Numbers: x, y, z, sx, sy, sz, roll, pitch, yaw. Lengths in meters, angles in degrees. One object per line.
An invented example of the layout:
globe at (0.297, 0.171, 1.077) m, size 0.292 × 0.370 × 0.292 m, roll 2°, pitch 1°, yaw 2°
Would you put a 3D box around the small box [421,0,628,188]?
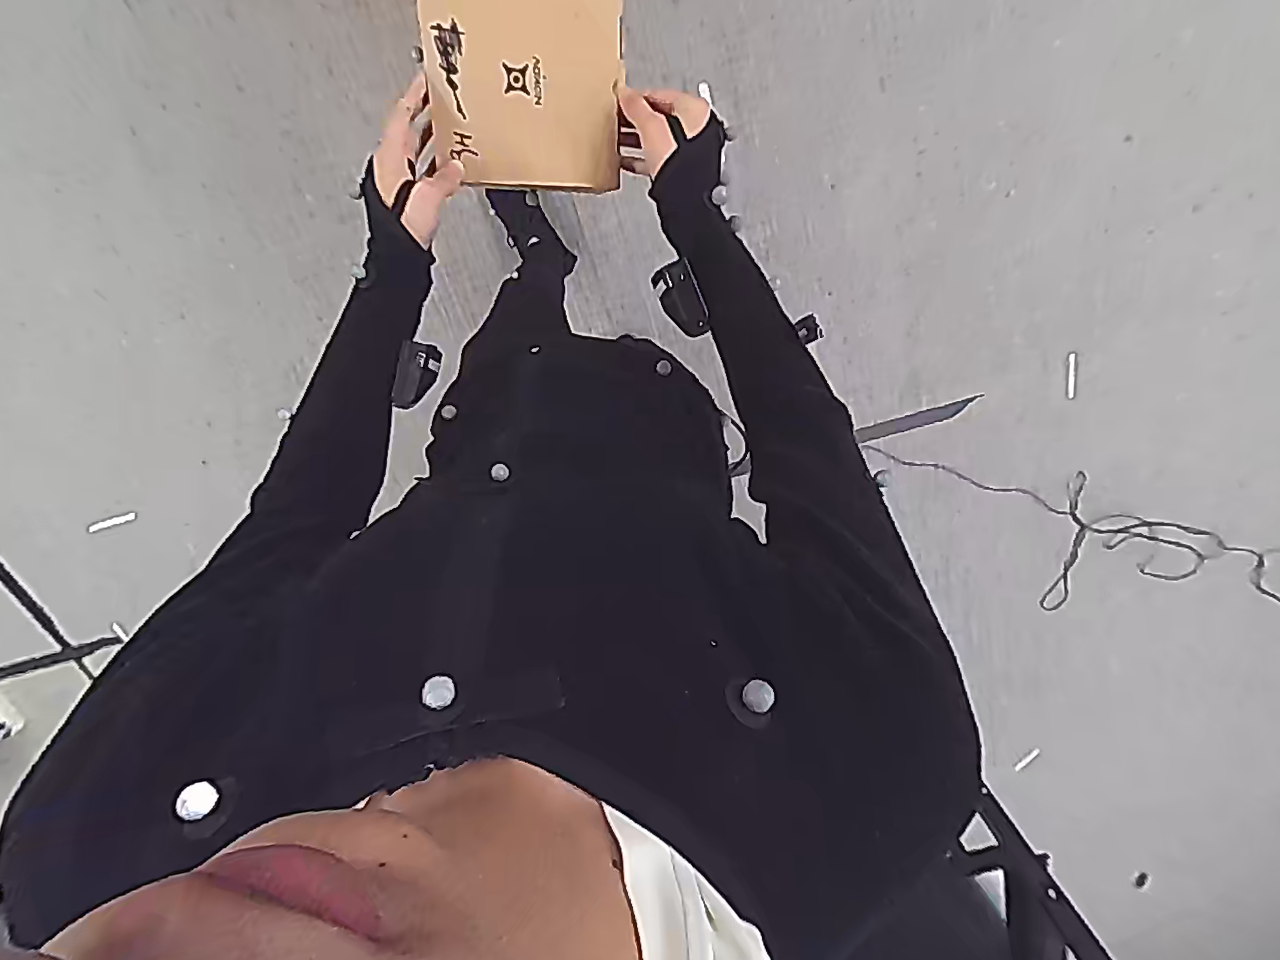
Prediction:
small box at (-0.115, -0.399, 0.554) m, size 0.179 × 0.176 × 0.168 m, roll -2°, pitch 117°, yaw -10°
